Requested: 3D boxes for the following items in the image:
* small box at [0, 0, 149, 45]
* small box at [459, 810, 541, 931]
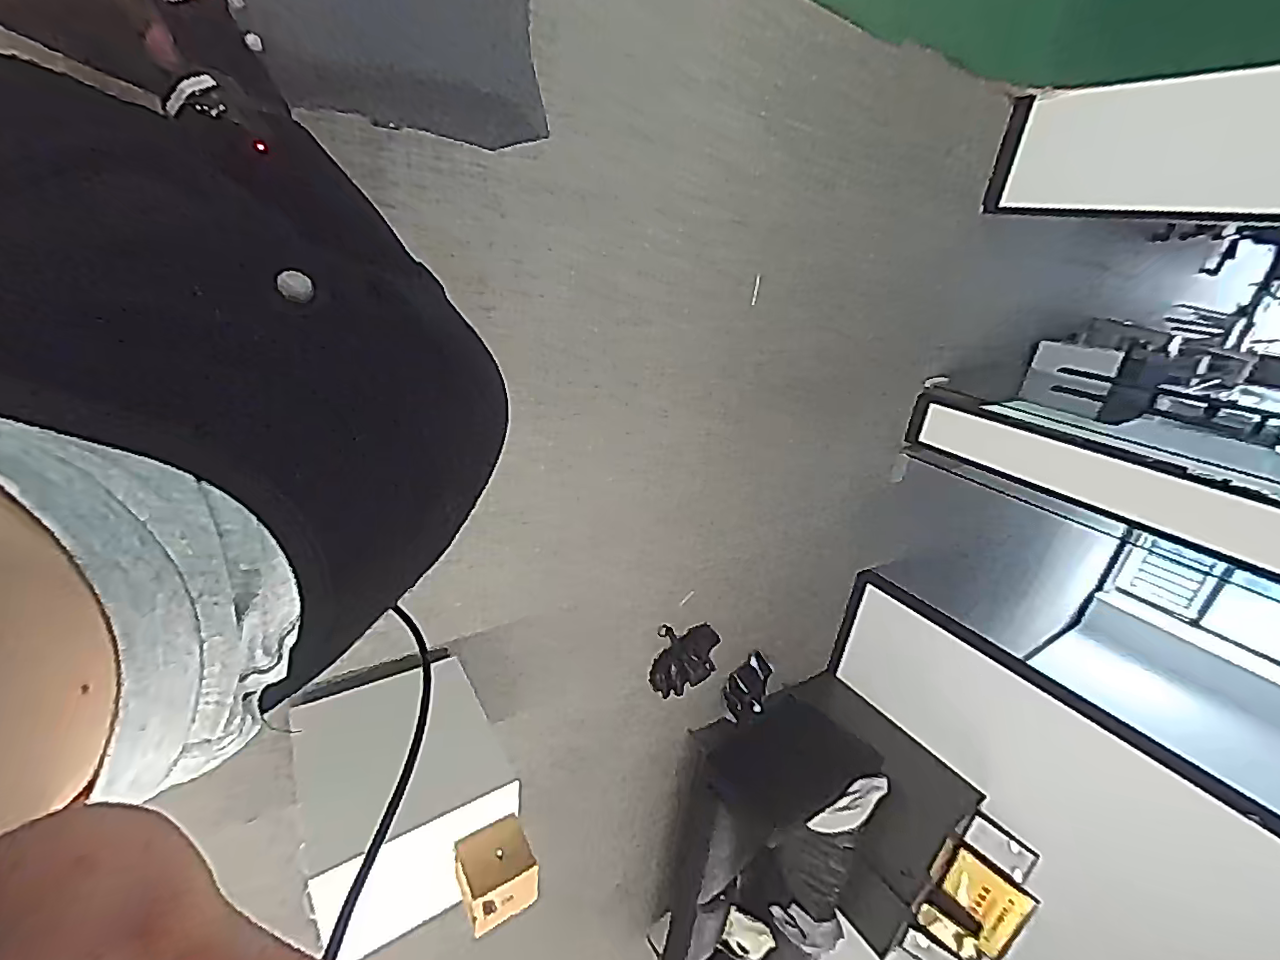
[{"bbox_3d":[-0.438,-0.397,0.319,0.179,0.176,0.168,-14,113,-31],"label":"small box"},{"bbox_3d":[-0.387,1.057,1.477,0.179,0.176,0.168,-11,121,-33],"label":"small box"}]
